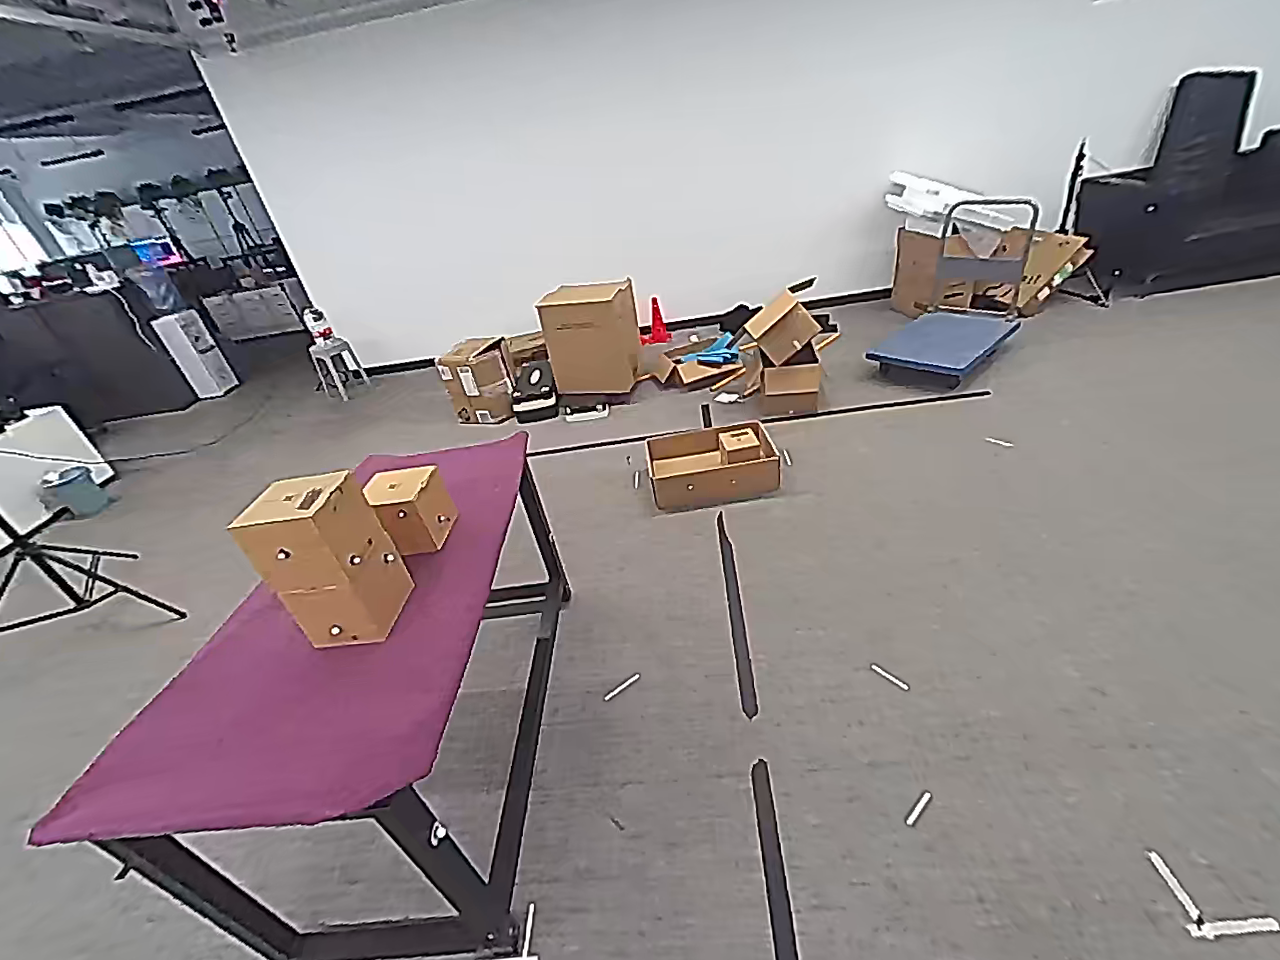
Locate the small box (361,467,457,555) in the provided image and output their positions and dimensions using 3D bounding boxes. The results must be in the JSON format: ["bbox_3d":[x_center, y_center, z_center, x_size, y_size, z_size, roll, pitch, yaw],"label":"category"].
[{"bbox_3d":[-0.615,0.087,1.431,0.179,0.176,0.168,-7,33,7],"label":"small box"}]

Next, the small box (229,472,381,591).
[{"bbox_3d":[-0.669,0.107,1.110,0.179,0.176,0.168,-8,32,5],"label":"small box"}]

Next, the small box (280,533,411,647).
[{"bbox_3d":[-0.635,0.243,1.197,0.168,0.176,0.179,-7,33,7],"label":"small box"}]
